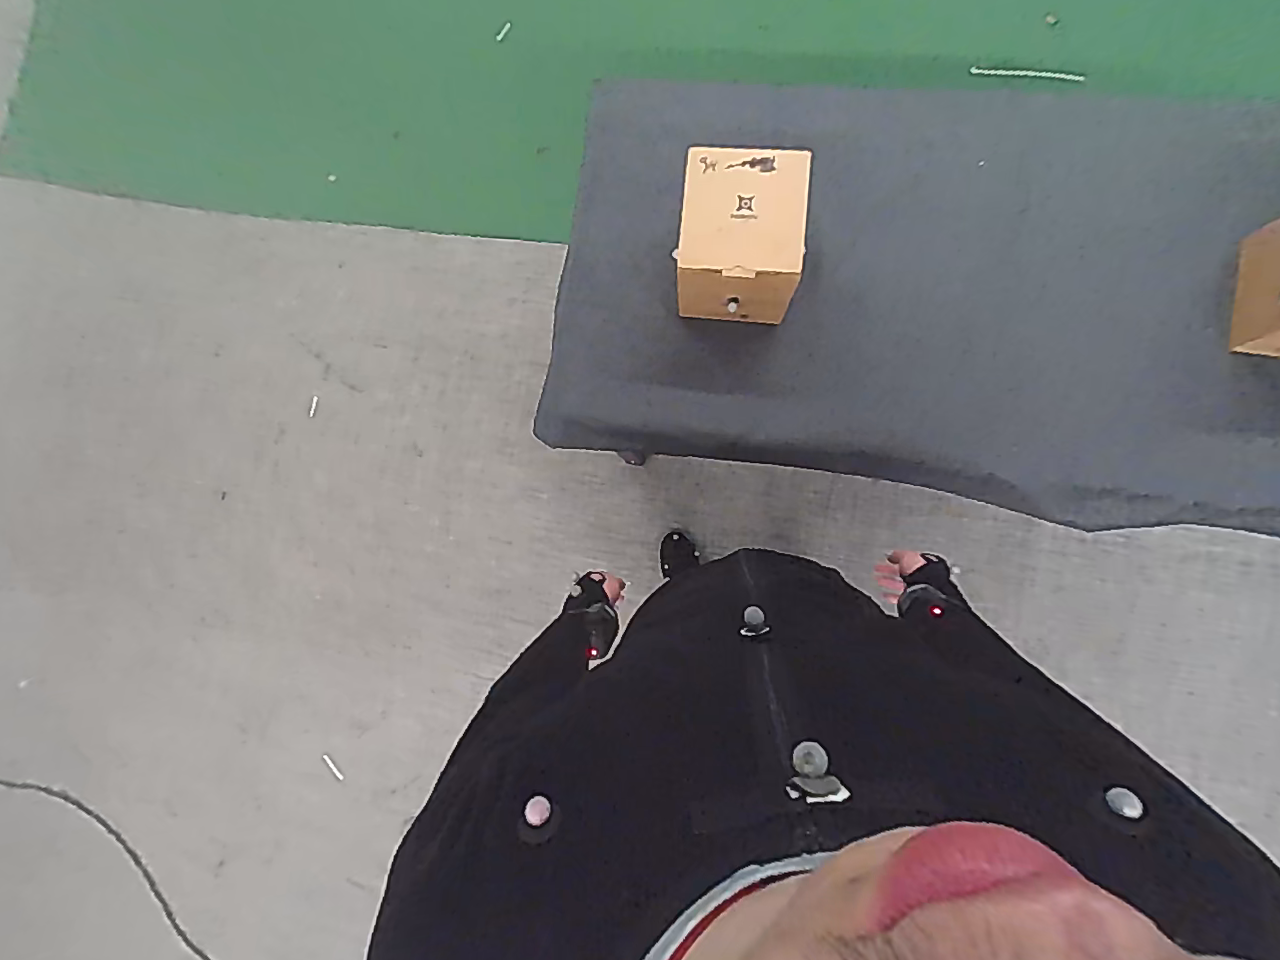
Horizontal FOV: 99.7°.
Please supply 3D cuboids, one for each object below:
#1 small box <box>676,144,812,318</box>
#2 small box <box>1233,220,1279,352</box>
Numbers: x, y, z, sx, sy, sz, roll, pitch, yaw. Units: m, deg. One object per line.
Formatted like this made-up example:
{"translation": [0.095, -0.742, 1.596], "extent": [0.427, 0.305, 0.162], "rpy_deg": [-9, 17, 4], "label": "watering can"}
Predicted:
{"translation": [0.146, -0.353, 0.795], "extent": [0.168, 0.176, 0.179], "rpy_deg": [6, 86, 6], "label": "small box"}
{"translation": [0.944, -0.266, 0.704], "extent": [0.168, 0.176, 0.179], "rpy_deg": [10, 85, 6], "label": "small box"}
